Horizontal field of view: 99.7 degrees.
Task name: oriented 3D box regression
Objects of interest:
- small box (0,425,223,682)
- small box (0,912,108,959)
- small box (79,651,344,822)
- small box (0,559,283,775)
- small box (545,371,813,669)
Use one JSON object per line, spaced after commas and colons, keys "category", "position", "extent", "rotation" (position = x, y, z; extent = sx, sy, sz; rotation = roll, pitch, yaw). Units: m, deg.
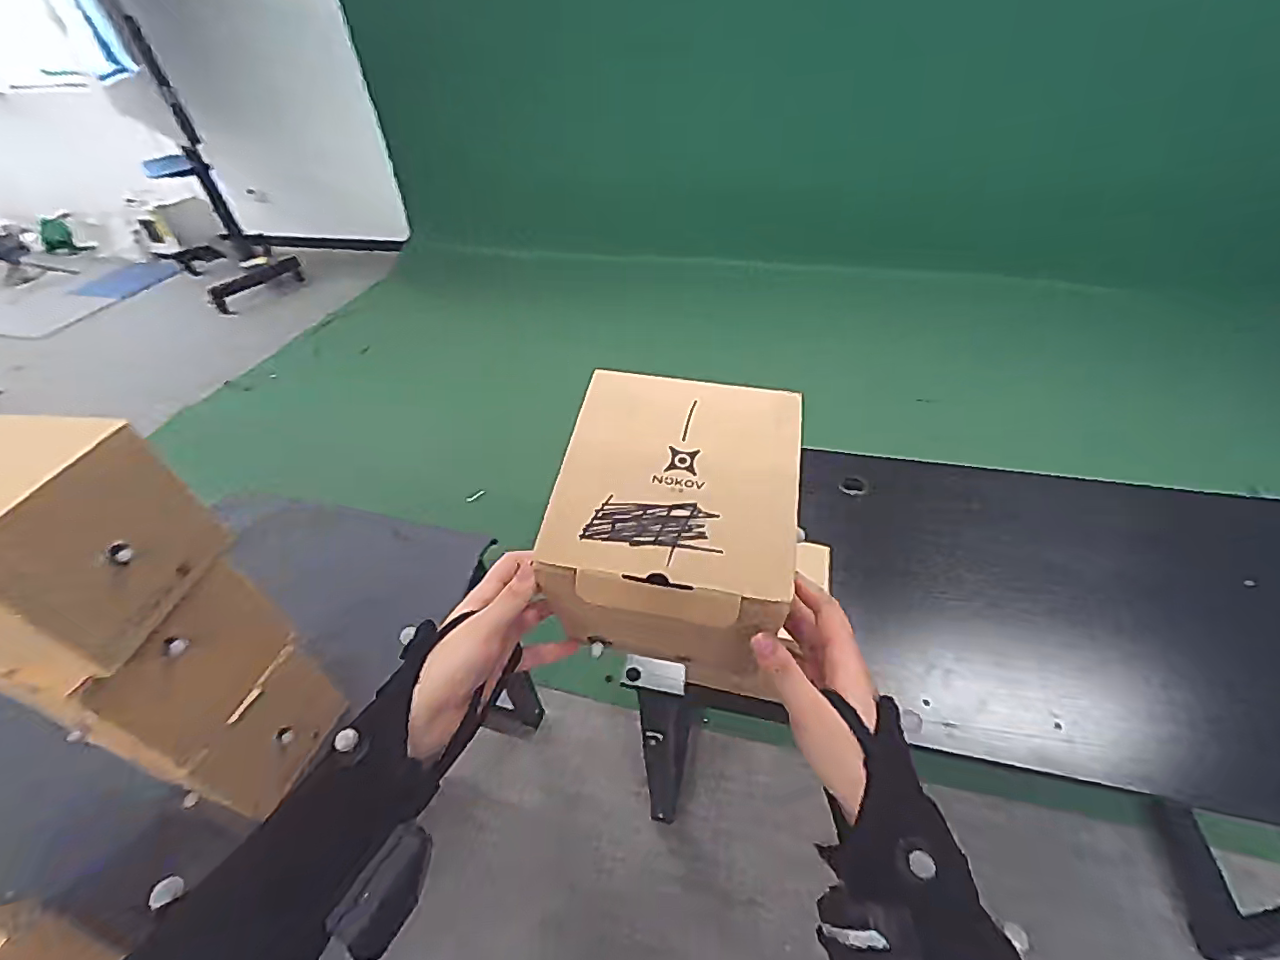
{"category": "small box", "position": [-0.548, 0.067, 0.495], "extent": [0.179, 0.176, 0.168], "rotation": [2, 43, 9]}
{"category": "small box", "position": [-0.652, 0.524, 0.498], "extent": [0.168, 0.176, 0.179], "rotation": [8, 45, 16]}
{"category": "small box", "position": [-0.534, 0.318, 0.706], "extent": [0.179, 0.176, 0.168], "rotation": [9, 45, 15]}
{"category": "small box", "position": [-0.545, 0.192, 0.603], "extent": [0.168, 0.176, 0.179], "rotation": [8, 45, 14]}
{"category": "small box", "position": [0.039, 0.039, 0.443], "extent": [0.168, 0.176, 0.179], "rotation": [8, 57, 8]}
